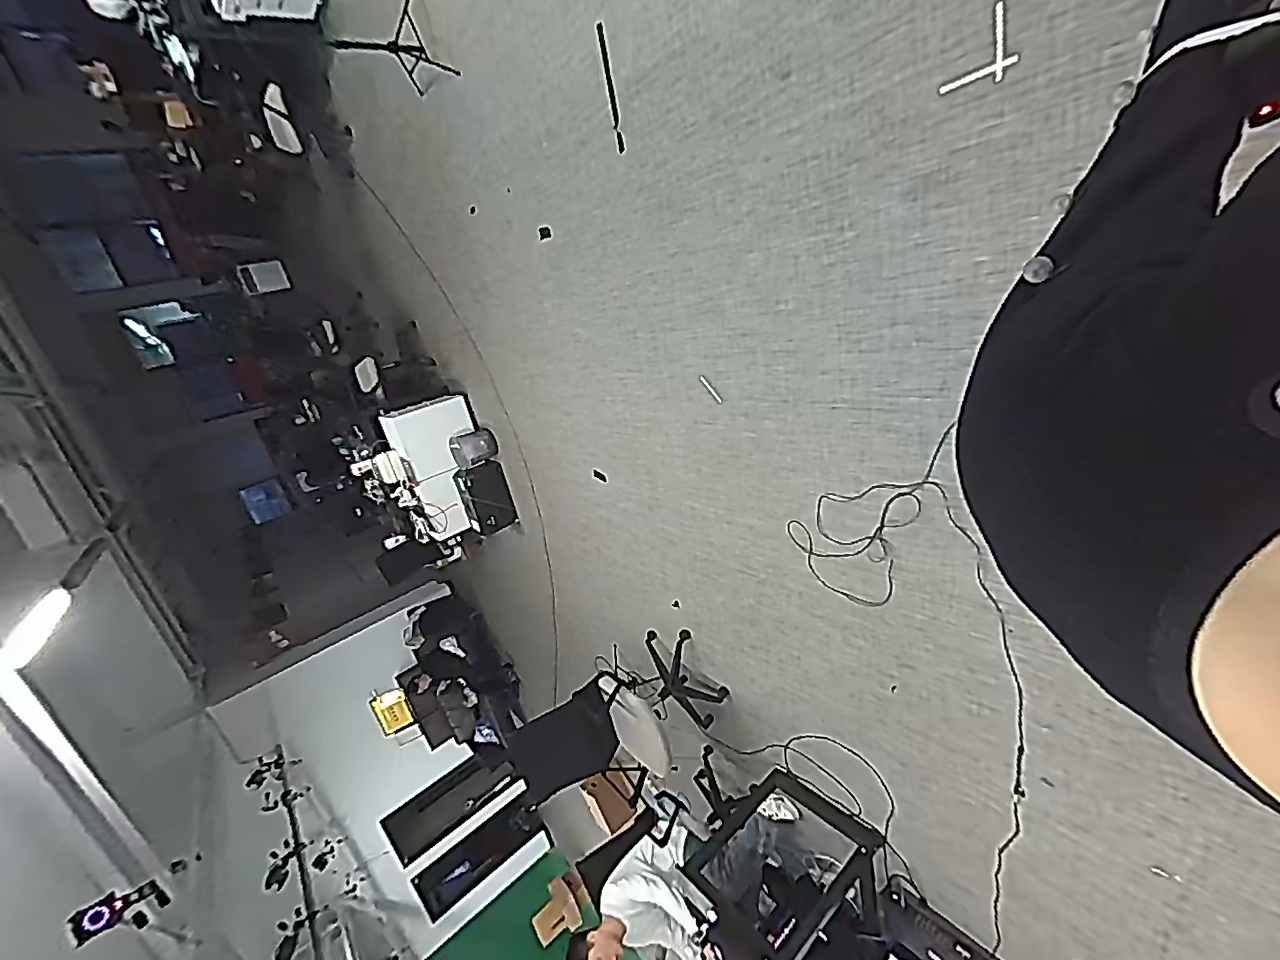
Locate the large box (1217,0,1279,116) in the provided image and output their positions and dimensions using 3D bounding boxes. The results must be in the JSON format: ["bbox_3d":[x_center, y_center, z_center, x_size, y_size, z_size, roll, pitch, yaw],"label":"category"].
[{"bbox_3d":[0.707,-0.474,0.346,0.408,0.320,0.320,18,125,48],"label":"large box"}]
